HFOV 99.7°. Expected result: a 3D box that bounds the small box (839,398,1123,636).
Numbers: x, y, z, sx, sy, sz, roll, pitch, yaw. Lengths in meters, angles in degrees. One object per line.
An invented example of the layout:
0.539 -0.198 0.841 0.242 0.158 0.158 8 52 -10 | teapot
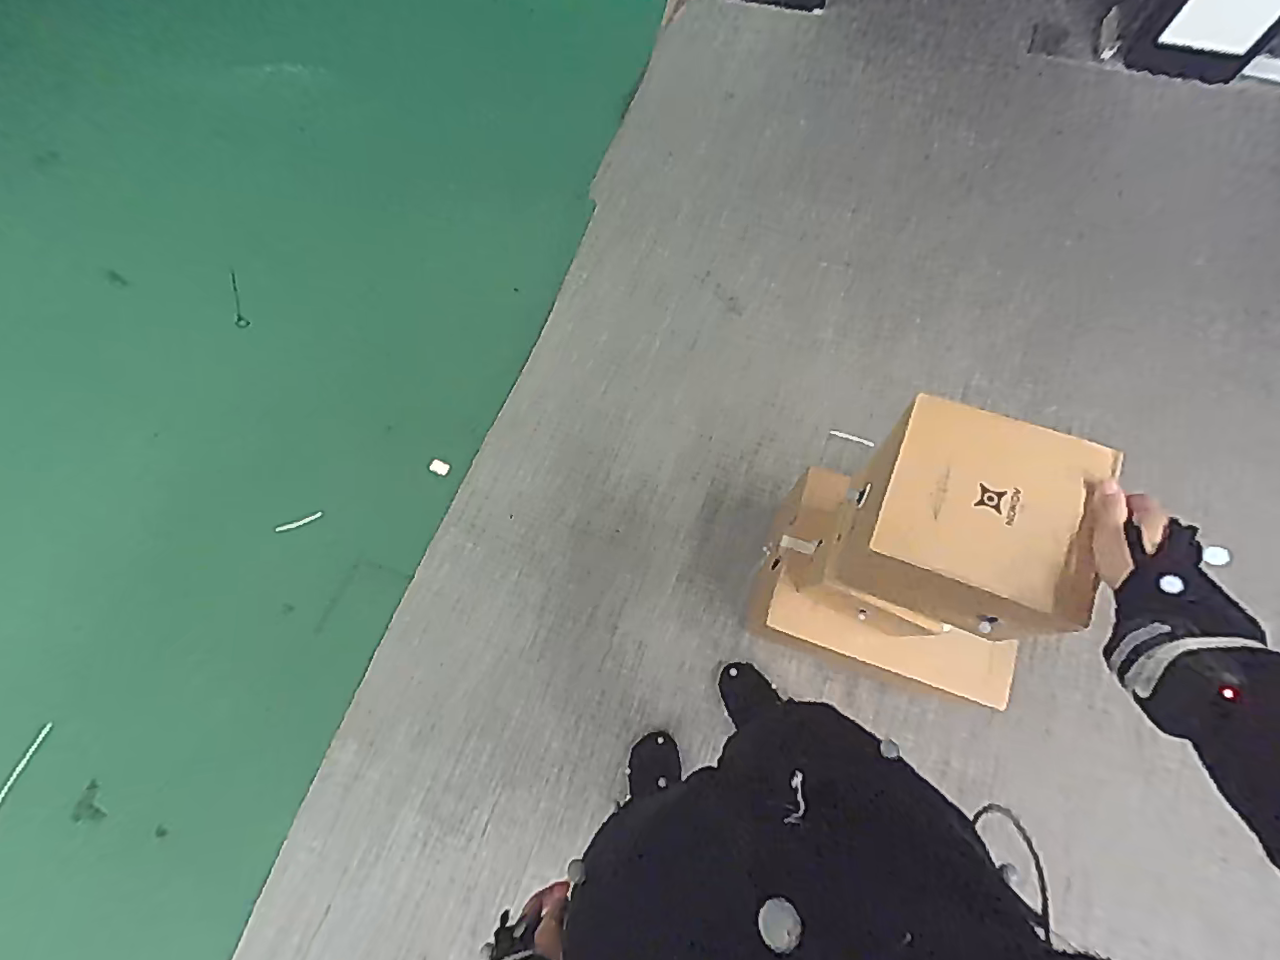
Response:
0.322 0.048 0.544 0.179 0.176 0.168 19 73 16 | small box

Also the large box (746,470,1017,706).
0.463 0.217 1.088 0.408 0.320 0.320 18 76 8 | large box
